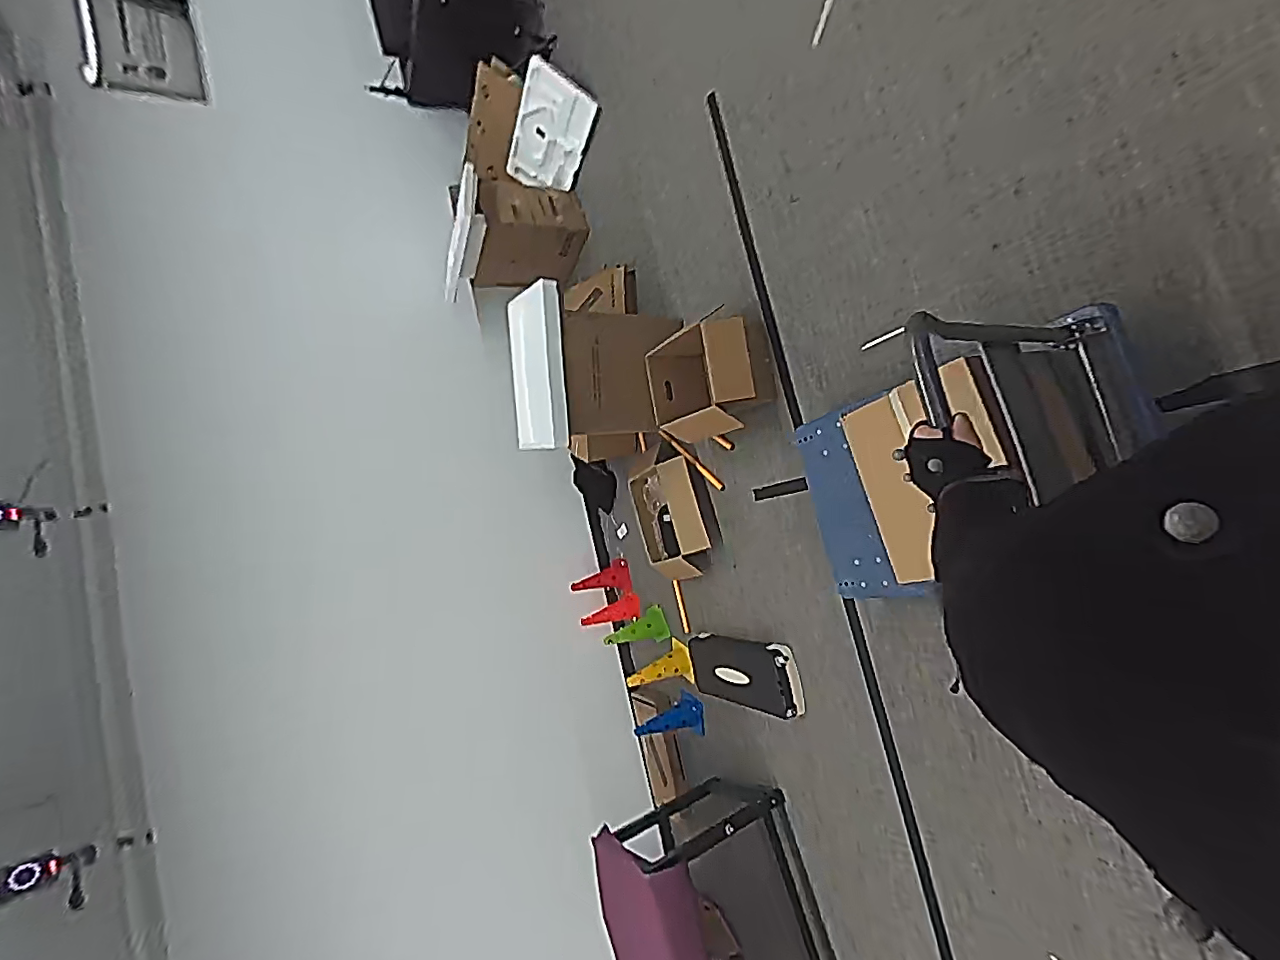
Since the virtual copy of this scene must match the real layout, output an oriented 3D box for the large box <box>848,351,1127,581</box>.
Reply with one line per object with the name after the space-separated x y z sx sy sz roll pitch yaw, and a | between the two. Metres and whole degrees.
0.733 -0.027 1.172 0.320 0.320 0.408 -33 69 58 | large box
